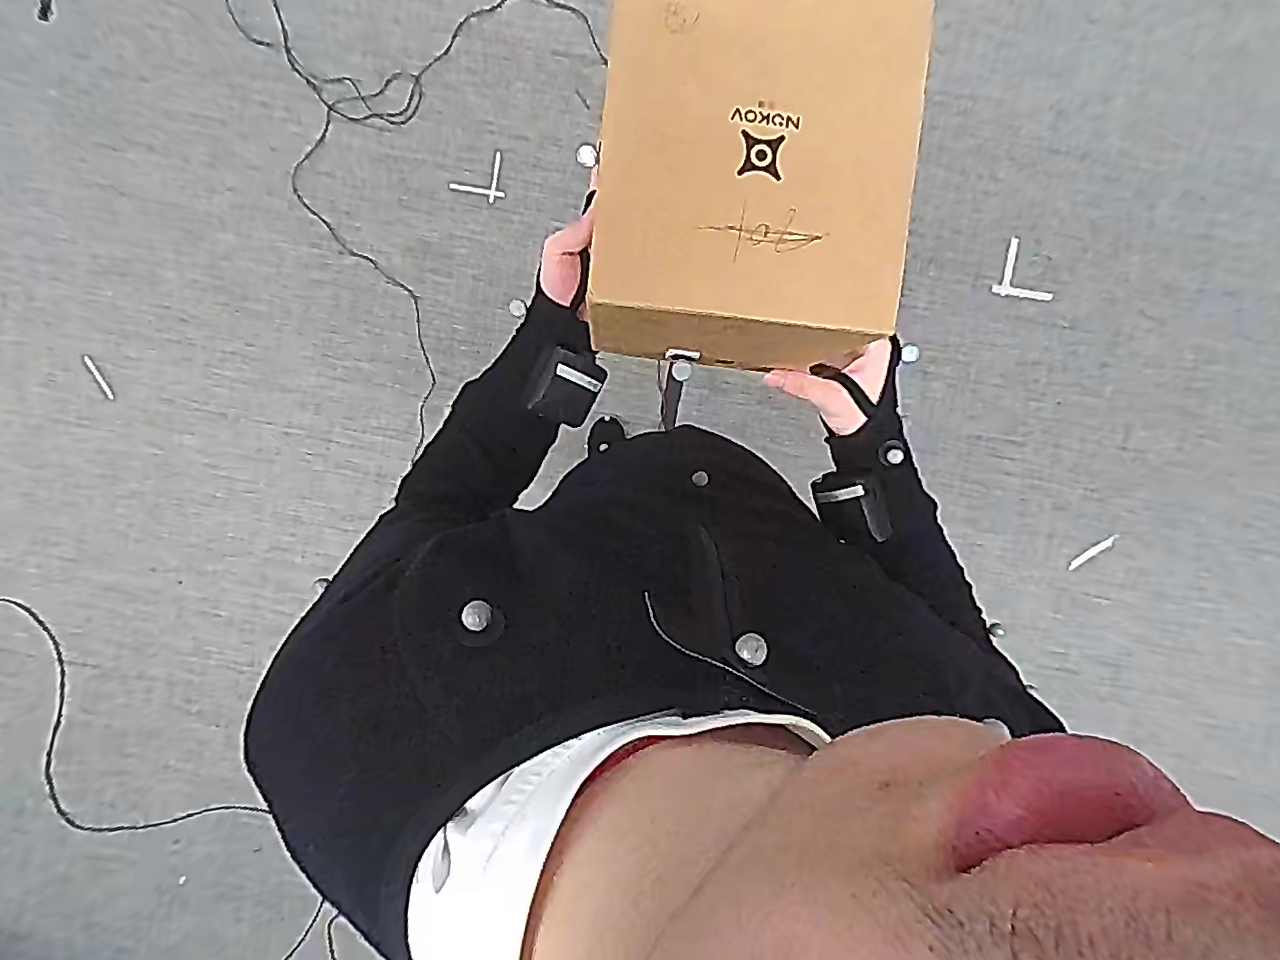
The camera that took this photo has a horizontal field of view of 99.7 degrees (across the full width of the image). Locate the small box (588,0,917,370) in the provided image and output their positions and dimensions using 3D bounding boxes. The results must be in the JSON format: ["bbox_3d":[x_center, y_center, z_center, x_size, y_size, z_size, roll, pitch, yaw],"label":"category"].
[{"bbox_3d":[0.056,-0.182,0.369,0.168,0.176,0.179,5,94,-3],"label":"small box"}]
